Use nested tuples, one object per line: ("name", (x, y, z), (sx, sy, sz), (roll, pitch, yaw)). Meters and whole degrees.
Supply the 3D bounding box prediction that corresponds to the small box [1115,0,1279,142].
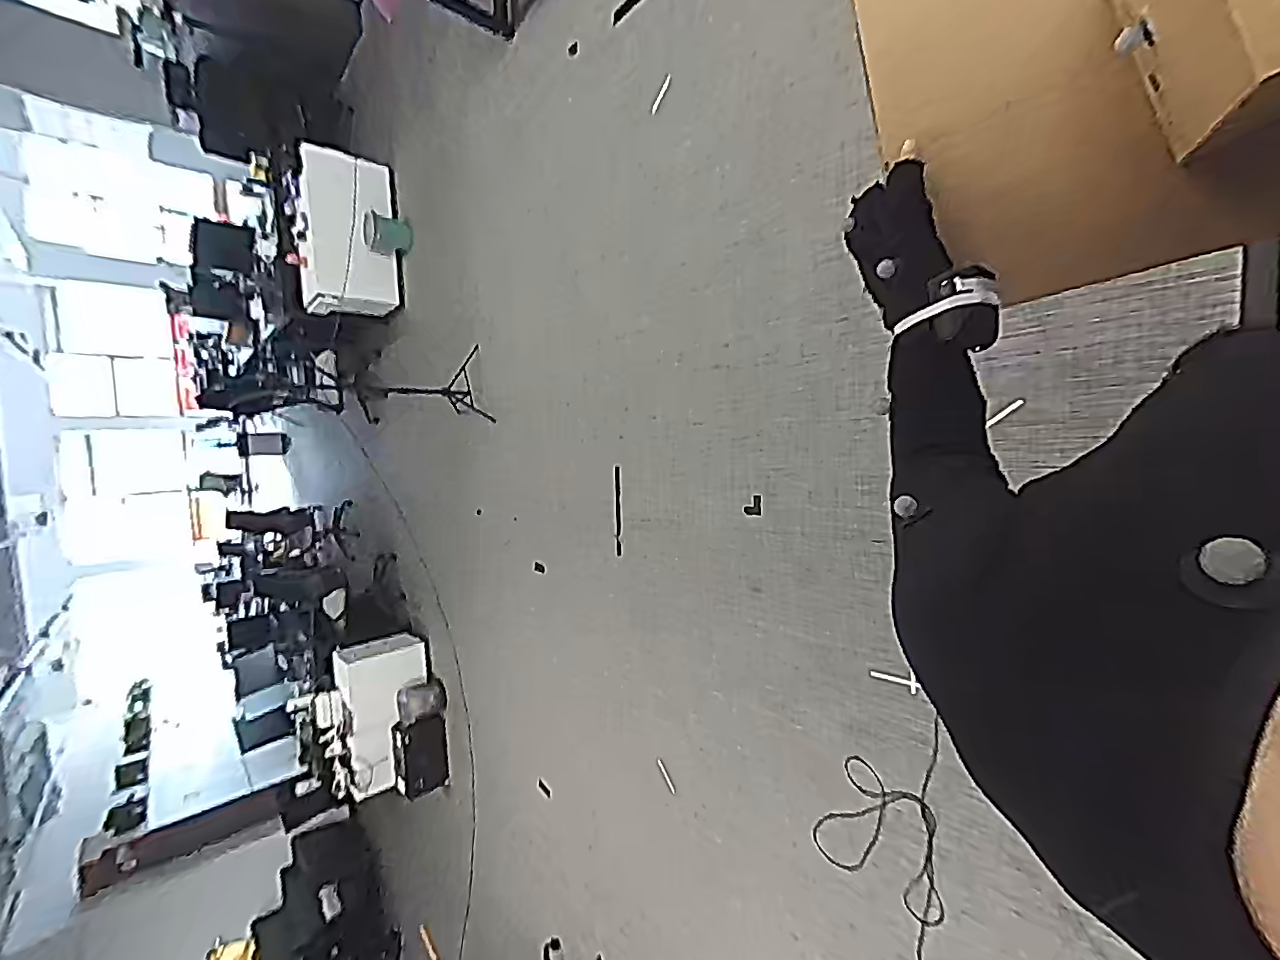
("small box", (0.402, -0.334, 0.299), (0.179, 0.176, 0.168), (-22, 90, 37))
